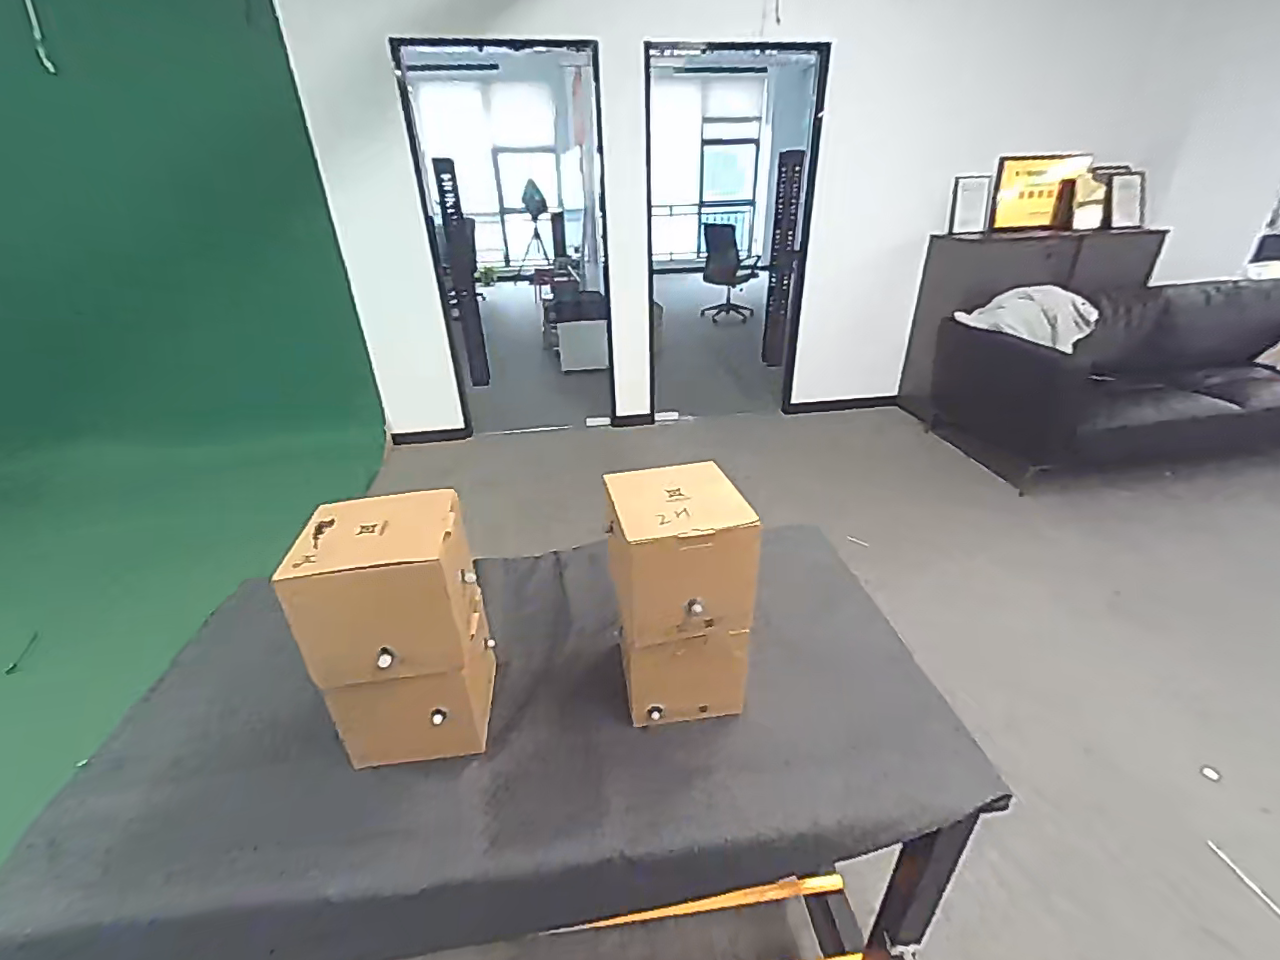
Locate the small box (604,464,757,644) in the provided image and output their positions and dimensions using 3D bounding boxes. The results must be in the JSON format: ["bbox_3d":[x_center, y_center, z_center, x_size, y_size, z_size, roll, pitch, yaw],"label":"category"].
[{"bbox_3d":[0.046,0.096,0.746,0.168,0.176,0.179,-8,28,-11],"label":"small box"}]

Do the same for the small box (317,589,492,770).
[{"bbox_3d":[-0.315,0.279,0.770,0.179,0.176,0.168,-5,27,-6],"label":"small box"}]

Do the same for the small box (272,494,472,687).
[{"bbox_3d":[-0.318,0.135,0.690,0.179,0.176,0.168,-6,27,-9],"label":"small box"}]

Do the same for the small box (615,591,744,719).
[{"bbox_3d":[0.053,0.240,0.825,0.168,0.176,0.179,-5,27,-7],"label":"small box"}]
